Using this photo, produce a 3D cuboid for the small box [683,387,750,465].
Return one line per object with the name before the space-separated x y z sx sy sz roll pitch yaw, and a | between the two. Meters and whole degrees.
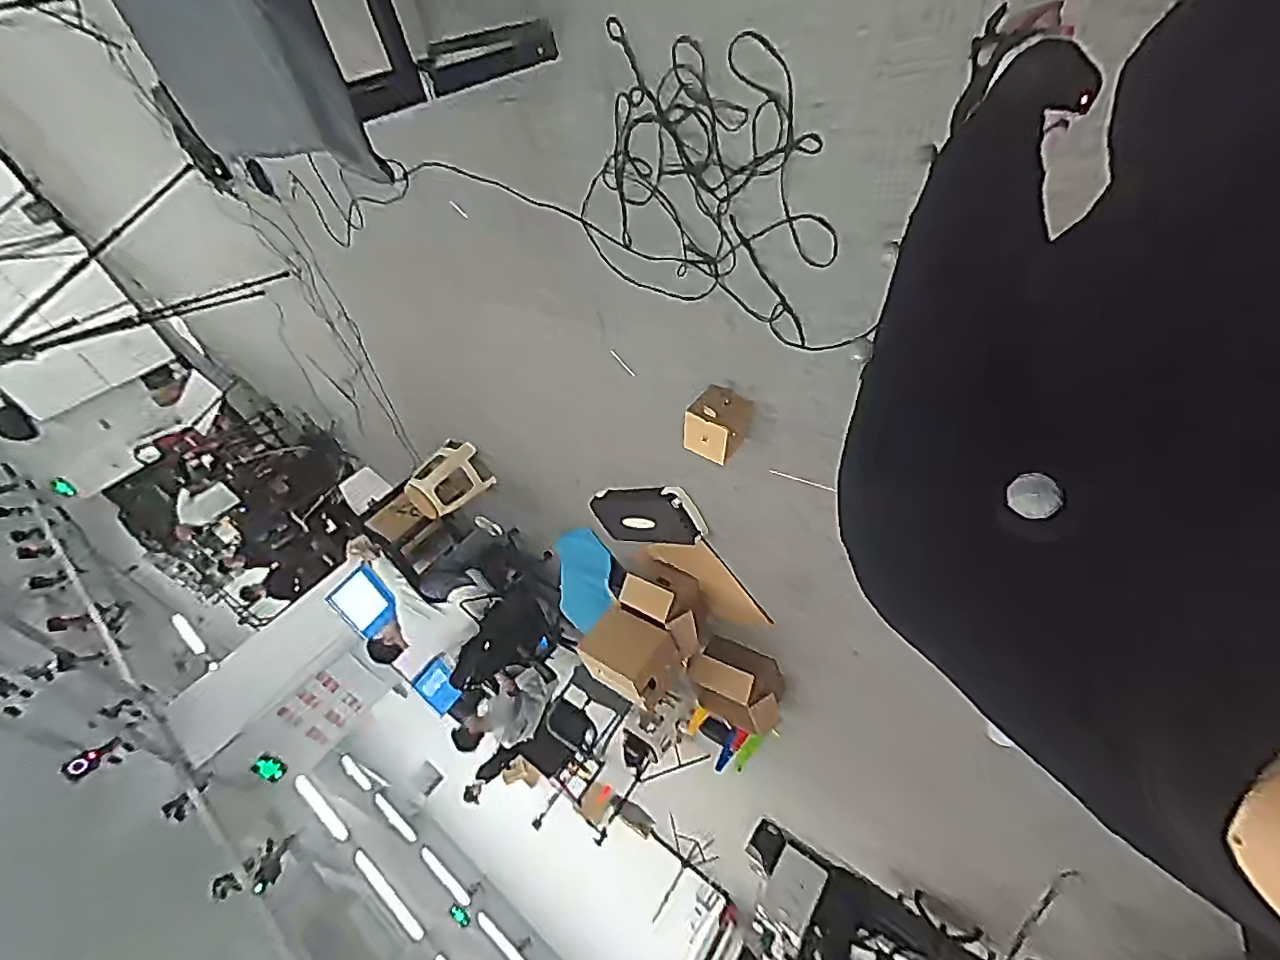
small box | 0.266 -0.189 1.872 0.168 0.176 0.179 28 144 24
